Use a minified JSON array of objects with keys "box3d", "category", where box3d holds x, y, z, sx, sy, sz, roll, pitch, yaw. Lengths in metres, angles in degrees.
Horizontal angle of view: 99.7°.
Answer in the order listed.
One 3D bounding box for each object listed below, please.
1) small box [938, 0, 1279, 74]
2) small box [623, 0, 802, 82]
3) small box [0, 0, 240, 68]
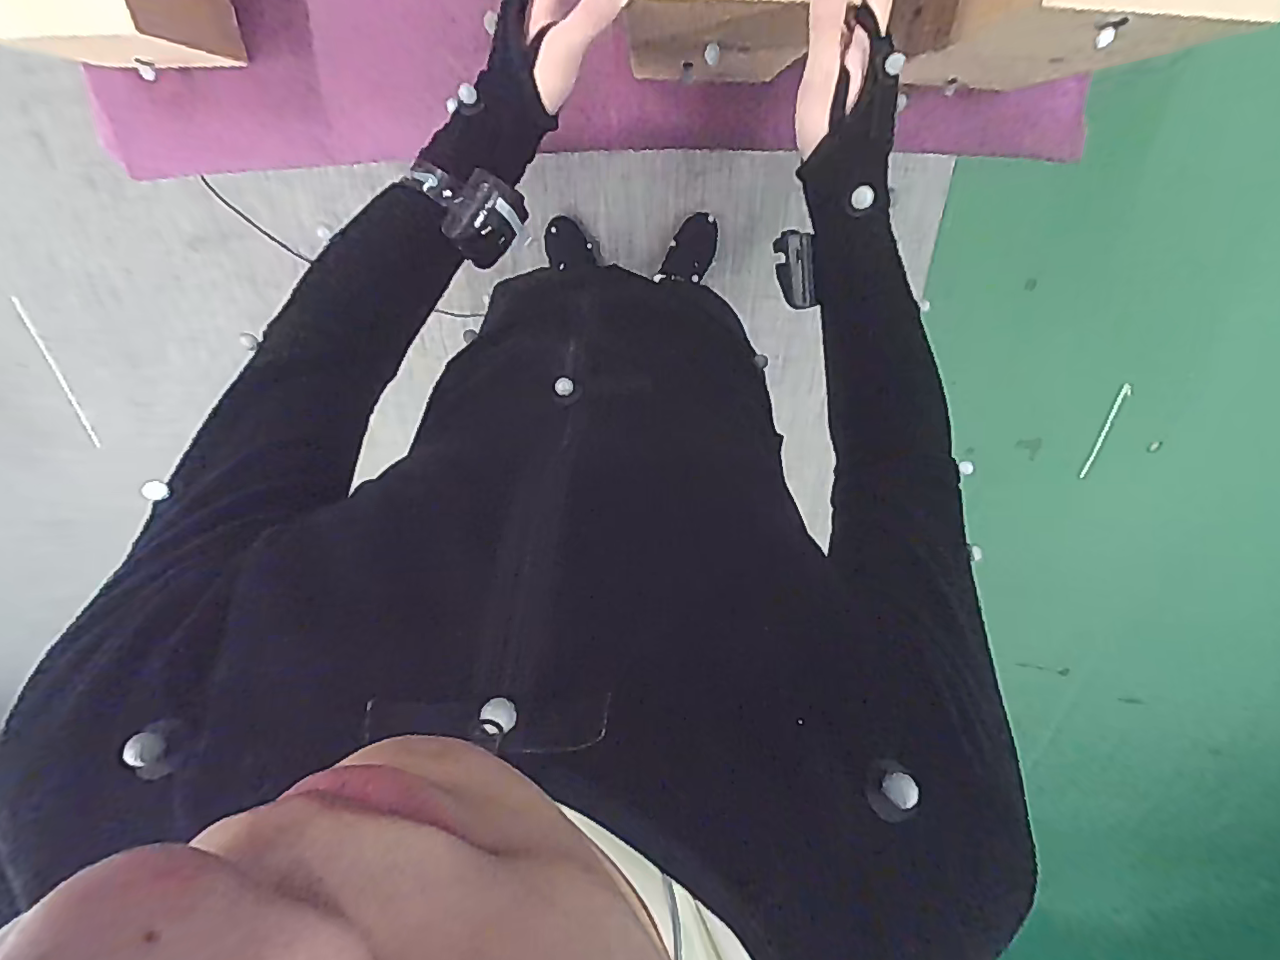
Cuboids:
[{"box3d":[0.352,-0.425,0.394,0.168,0.176,0.179,4,119,0],"category":"small box"},{"box3d":[0.072,-0.517,0.540,0.168,0.176,0.179,2,118,1],"category":"small box"},{"box3d":[-0.555,-0.535,0.537,0.168,0.176,0.179,0,119,1],"category":"small box"}]
